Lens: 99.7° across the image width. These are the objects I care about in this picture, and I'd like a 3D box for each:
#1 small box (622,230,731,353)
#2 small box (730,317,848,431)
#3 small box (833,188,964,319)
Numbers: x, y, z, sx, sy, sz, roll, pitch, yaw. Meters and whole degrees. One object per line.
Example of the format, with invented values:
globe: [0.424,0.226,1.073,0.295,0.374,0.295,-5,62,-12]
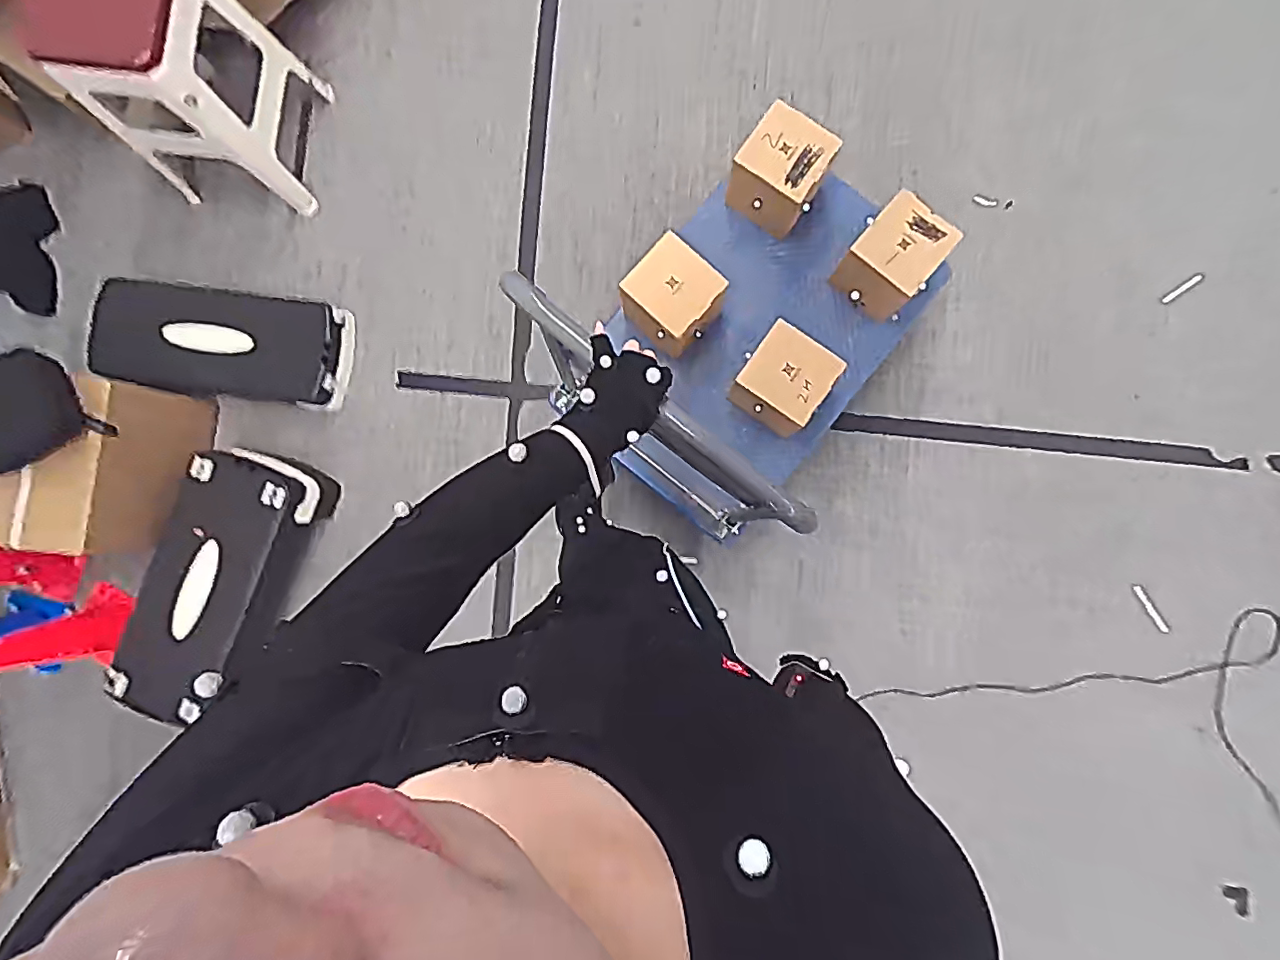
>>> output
small box: [0.077,-0.415,1.225,0.179,0.176,0.168,43,89,1]
small box: [0.321,-0.224,1.207,0.179,0.176,0.168,36,89,3]
small box: [0.565,-0.497,1.211,0.168,0.176,0.179,41,91,3]
